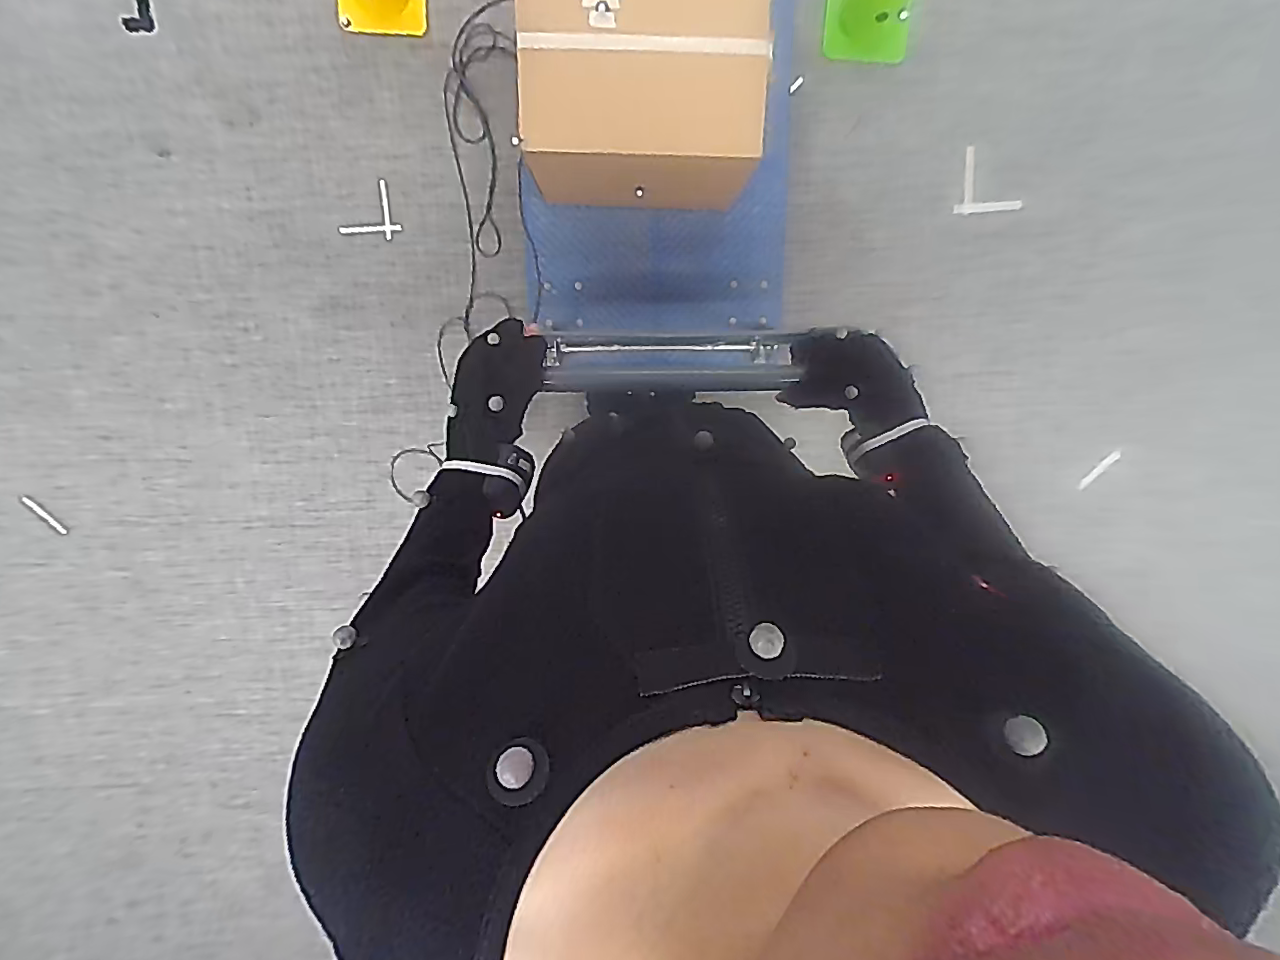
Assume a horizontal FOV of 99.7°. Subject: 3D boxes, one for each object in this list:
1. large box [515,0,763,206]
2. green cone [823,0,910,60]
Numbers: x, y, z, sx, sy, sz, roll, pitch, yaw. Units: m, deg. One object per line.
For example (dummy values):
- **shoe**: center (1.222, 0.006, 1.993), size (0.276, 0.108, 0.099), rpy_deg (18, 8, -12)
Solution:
- **large box**: center (-0.001, -0.721, 1.020), size (0.408, 0.320, 0.320), rpy_deg (1, 101, -1)
- **green cone**: center (0.543, -1.075, 1.107), size (0.202, 0.368, 0.200), rpy_deg (2, 101, -3)
